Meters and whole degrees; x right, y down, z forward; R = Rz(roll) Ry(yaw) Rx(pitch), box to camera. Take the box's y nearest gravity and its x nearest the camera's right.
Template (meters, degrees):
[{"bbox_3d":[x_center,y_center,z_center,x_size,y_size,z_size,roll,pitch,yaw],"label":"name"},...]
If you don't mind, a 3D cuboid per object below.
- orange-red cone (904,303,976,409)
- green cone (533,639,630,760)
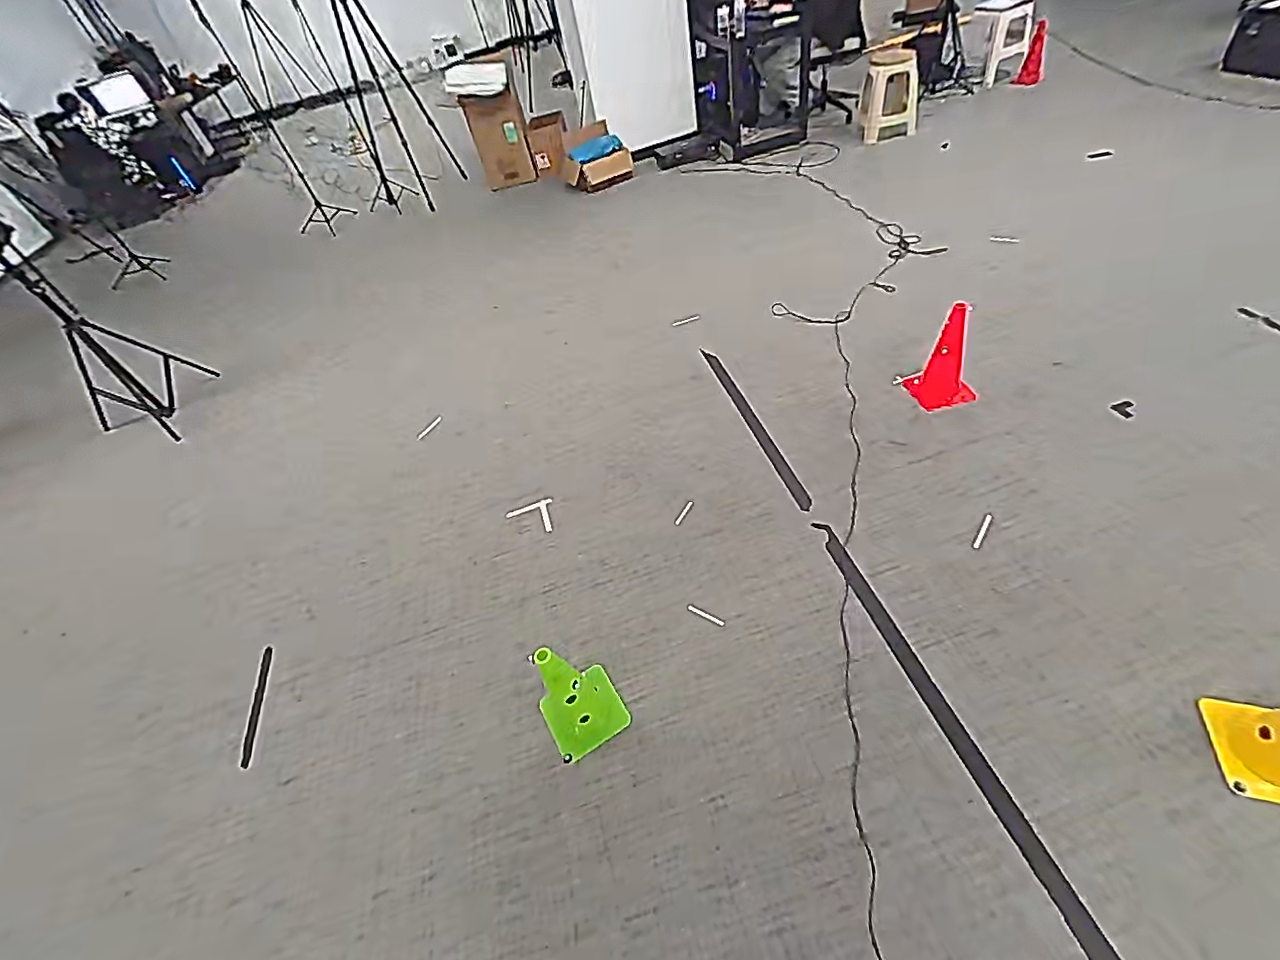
[{"bbox_3d":[1.091,-0.456,1.902,0.198,0.360,0.199,-13,47,3],"label":"orange-red cone"},{"bbox_3d":[-0.180,0.499,1.331,0.200,0.368,0.202,-29,46,-14],"label":"green cone"}]
